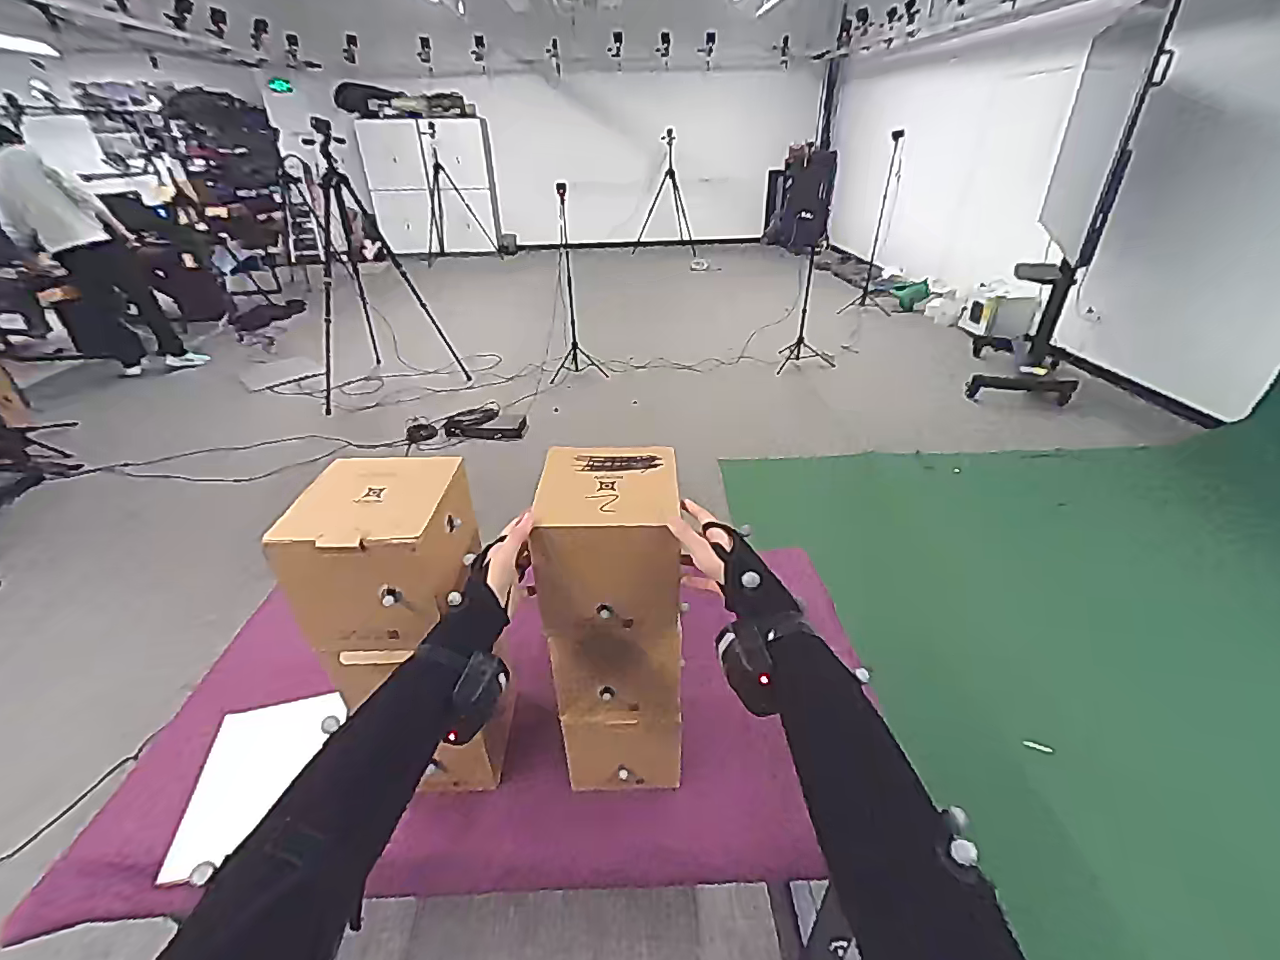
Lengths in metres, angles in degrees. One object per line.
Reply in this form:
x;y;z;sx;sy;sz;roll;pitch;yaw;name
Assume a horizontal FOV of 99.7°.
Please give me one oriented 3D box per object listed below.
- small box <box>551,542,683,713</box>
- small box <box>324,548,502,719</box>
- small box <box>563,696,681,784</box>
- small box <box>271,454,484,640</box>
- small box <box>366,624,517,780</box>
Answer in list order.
-0.029;0.207;0.776;0.168;0.176;0.179;-1;32;0;small box
-0.302;0.217;0.767;0.168;0.176;0.179;-1;31;0;small box
-0.024;0.349;0.857;0.168;0.176;0.179;-2;32;1;small box
-0.304;0.082;0.676;0.168;0.176;0.179;0;32;0;small box
-0.299;0.354;0.860;0.168;0.176;0.179;-1;33;-1;small box
